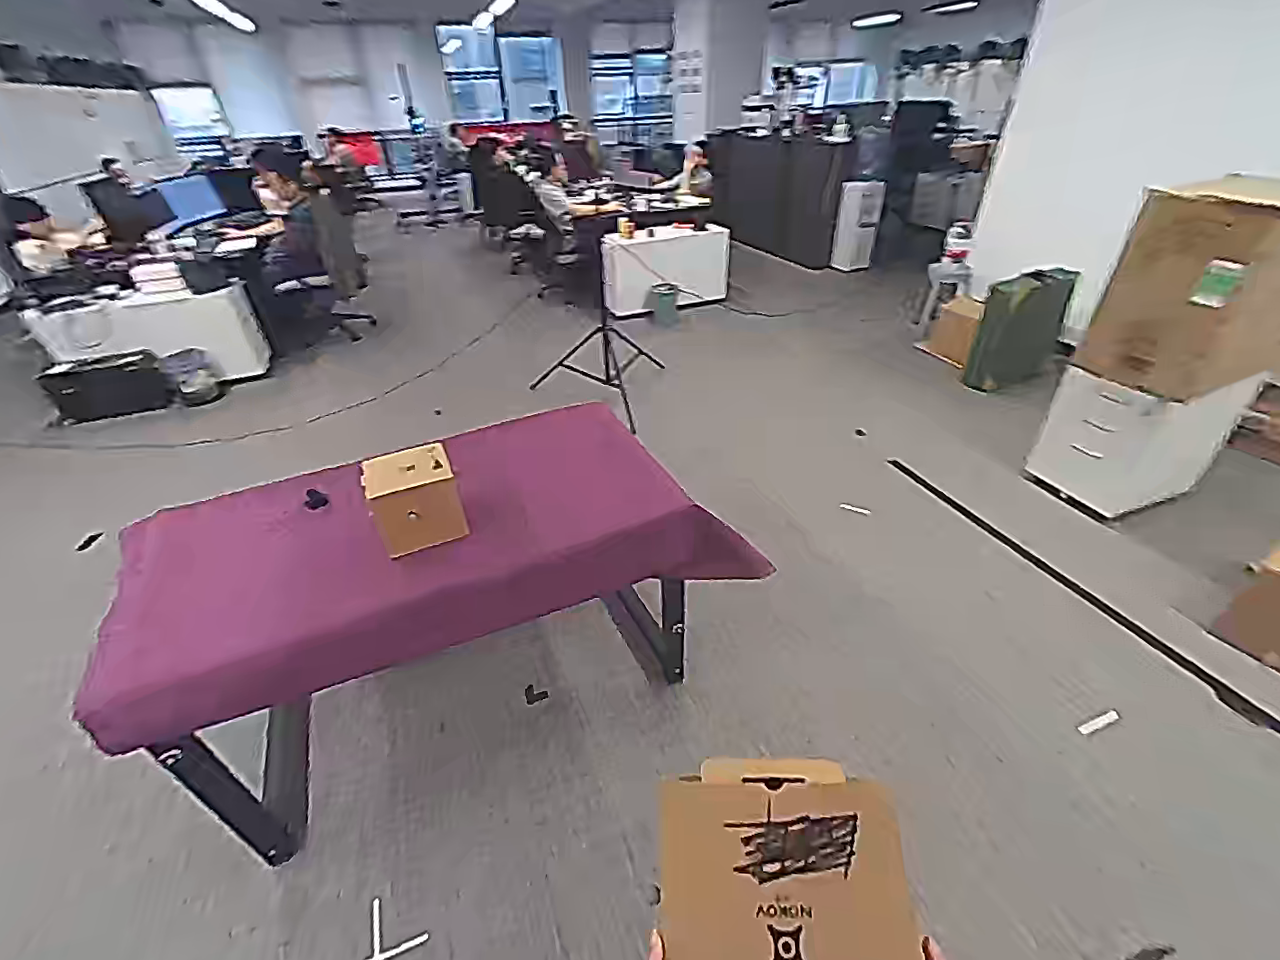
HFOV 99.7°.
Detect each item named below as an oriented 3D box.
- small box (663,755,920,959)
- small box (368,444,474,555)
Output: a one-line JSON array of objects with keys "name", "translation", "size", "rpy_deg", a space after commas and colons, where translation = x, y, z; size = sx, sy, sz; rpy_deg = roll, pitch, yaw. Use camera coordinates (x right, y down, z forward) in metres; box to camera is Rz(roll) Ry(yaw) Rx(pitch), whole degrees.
[{"name": "small box", "translation": [0.102, 0.326, 0.429], "size": [0.168, 0.176, 0.179], "rpy_deg": [-3, 58, 3]}, {"name": "small box", "translation": [-0.500, 0.045, 1.238], "size": [0.179, 0.176, 0.168], "rpy_deg": [-18, 38, -19]}]
